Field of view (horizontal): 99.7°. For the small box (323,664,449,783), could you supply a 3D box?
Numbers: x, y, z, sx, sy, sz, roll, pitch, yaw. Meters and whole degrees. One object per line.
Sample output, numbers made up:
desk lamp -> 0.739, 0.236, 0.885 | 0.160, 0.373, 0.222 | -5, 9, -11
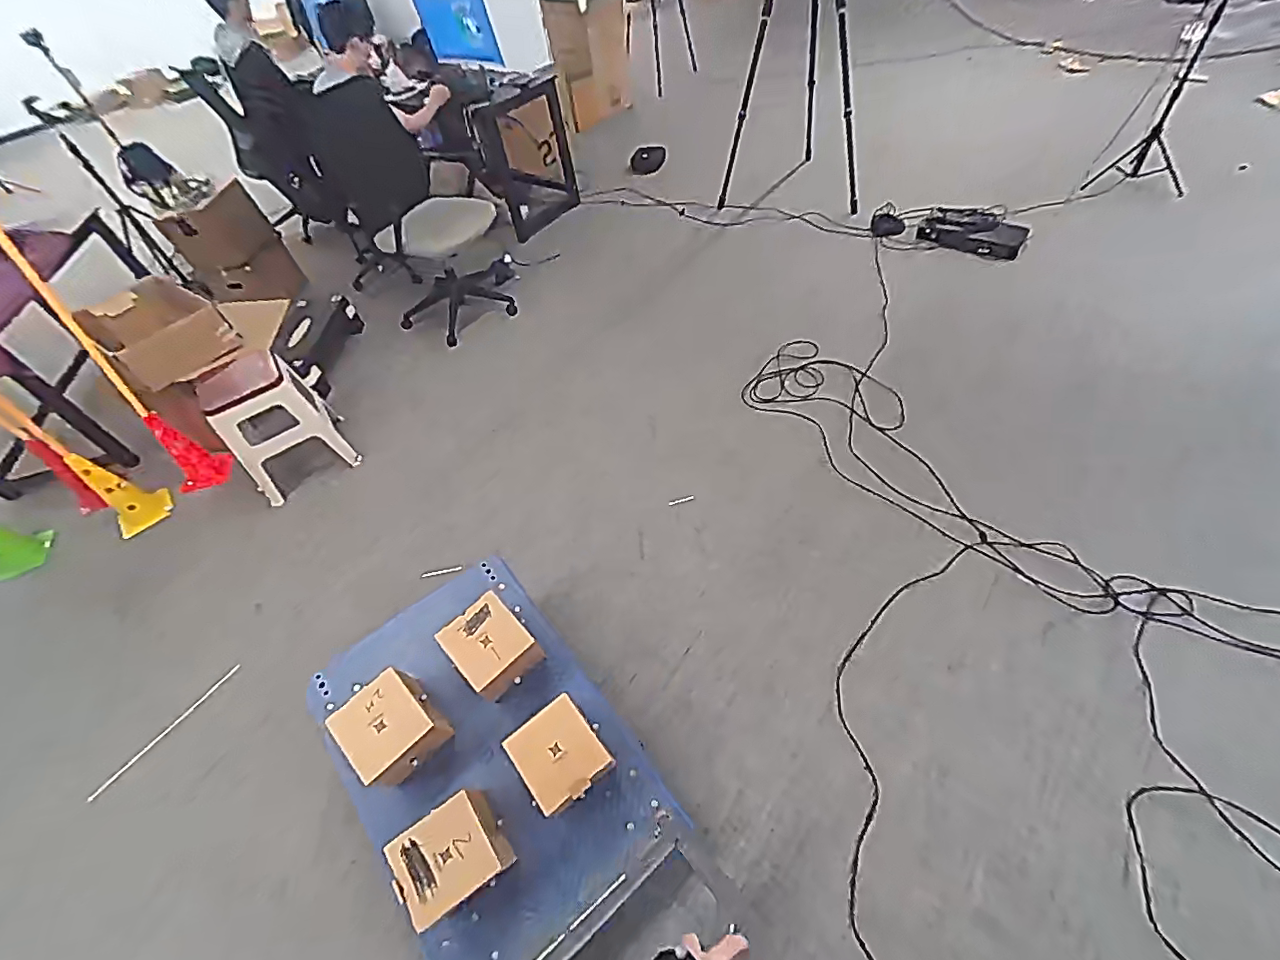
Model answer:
small box -> -0.563, 0.550, 1.222 | 0.168, 0.176, 0.179 | -40, 69, -22

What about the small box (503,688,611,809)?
small box -> -0.179, 0.599, 1.205 | 0.168, 0.176, 0.179 | -35, 68, -19

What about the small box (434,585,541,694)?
small box -> -0.364, 0.393, 1.315 | 0.168, 0.176, 0.179 | -40, 70, -20
